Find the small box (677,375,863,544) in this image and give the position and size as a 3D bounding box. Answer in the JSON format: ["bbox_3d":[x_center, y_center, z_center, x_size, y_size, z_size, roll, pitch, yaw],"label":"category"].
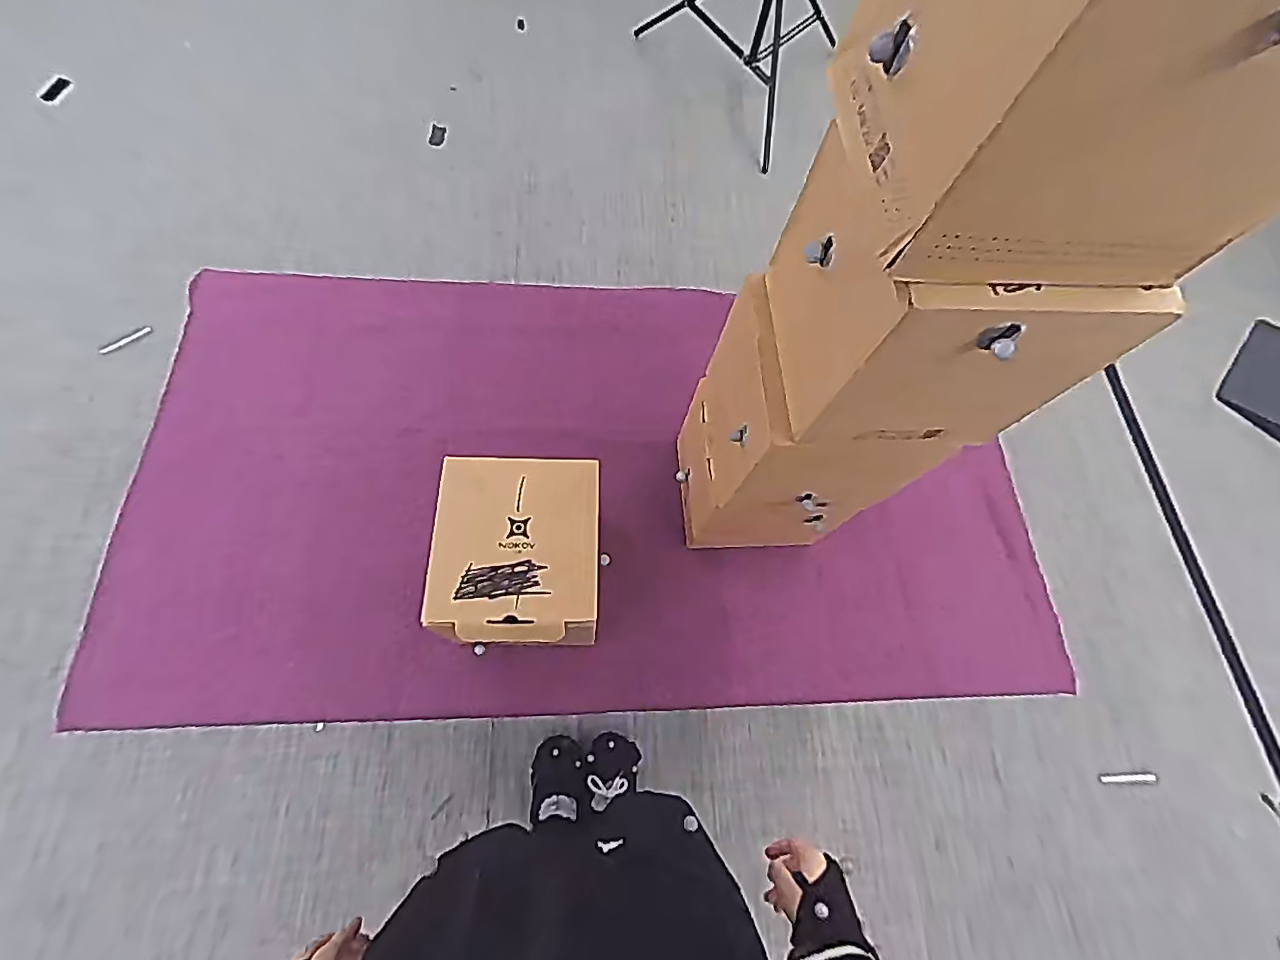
[{"bbox_3d":[0.151,-0.019,0.692,0.179,0.176,0.168,-1,67,-6],"label":"small box"}]

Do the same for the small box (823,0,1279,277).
[{"bbox_3d":[0.211,-0.213,0.247,0.179,0.176,0.168,-2,68,-7],"label":"small box"}]

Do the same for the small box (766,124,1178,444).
[{"bbox_3d":[0.202,-0.141,0.393,0.168,0.176,0.179,-1,68,-6],"label":"small box"}]

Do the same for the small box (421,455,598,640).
[{"bbox_3d":[-0.133,0.086,0.620,0.168,0.176,0.179,1,66,-5],"label":"small box"}]
